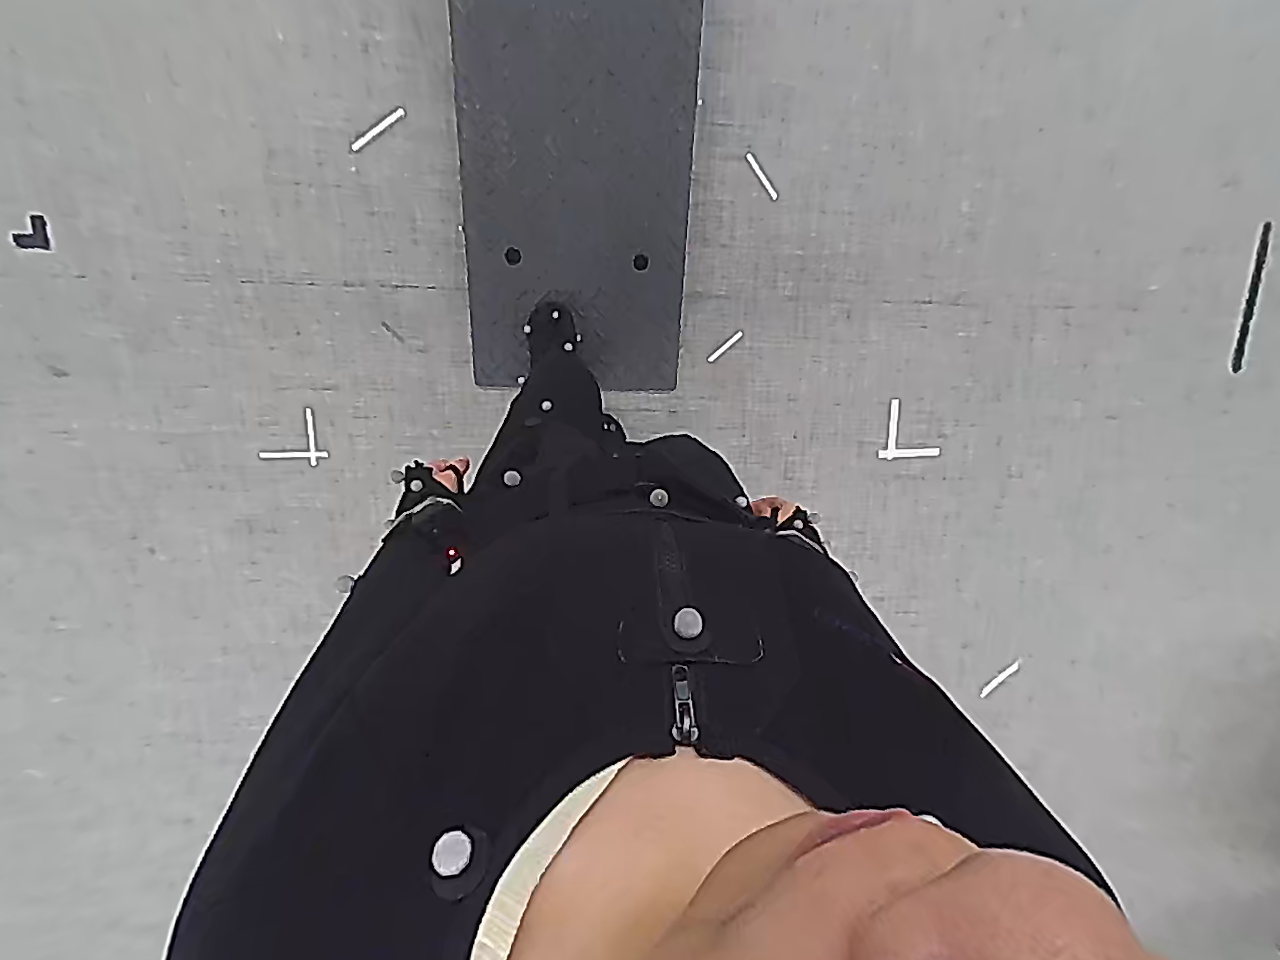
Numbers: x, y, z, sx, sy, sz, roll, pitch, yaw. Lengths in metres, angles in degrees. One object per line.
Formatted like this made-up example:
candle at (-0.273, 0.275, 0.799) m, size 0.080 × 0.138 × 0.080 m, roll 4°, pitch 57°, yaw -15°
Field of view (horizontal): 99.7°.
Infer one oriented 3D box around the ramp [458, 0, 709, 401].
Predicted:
ramp at (-0.113, -0.660, 1.155) m, size 0.509 × 0.206 × 0.991 m, roll -2°, pitch 101°, yaw -6°
